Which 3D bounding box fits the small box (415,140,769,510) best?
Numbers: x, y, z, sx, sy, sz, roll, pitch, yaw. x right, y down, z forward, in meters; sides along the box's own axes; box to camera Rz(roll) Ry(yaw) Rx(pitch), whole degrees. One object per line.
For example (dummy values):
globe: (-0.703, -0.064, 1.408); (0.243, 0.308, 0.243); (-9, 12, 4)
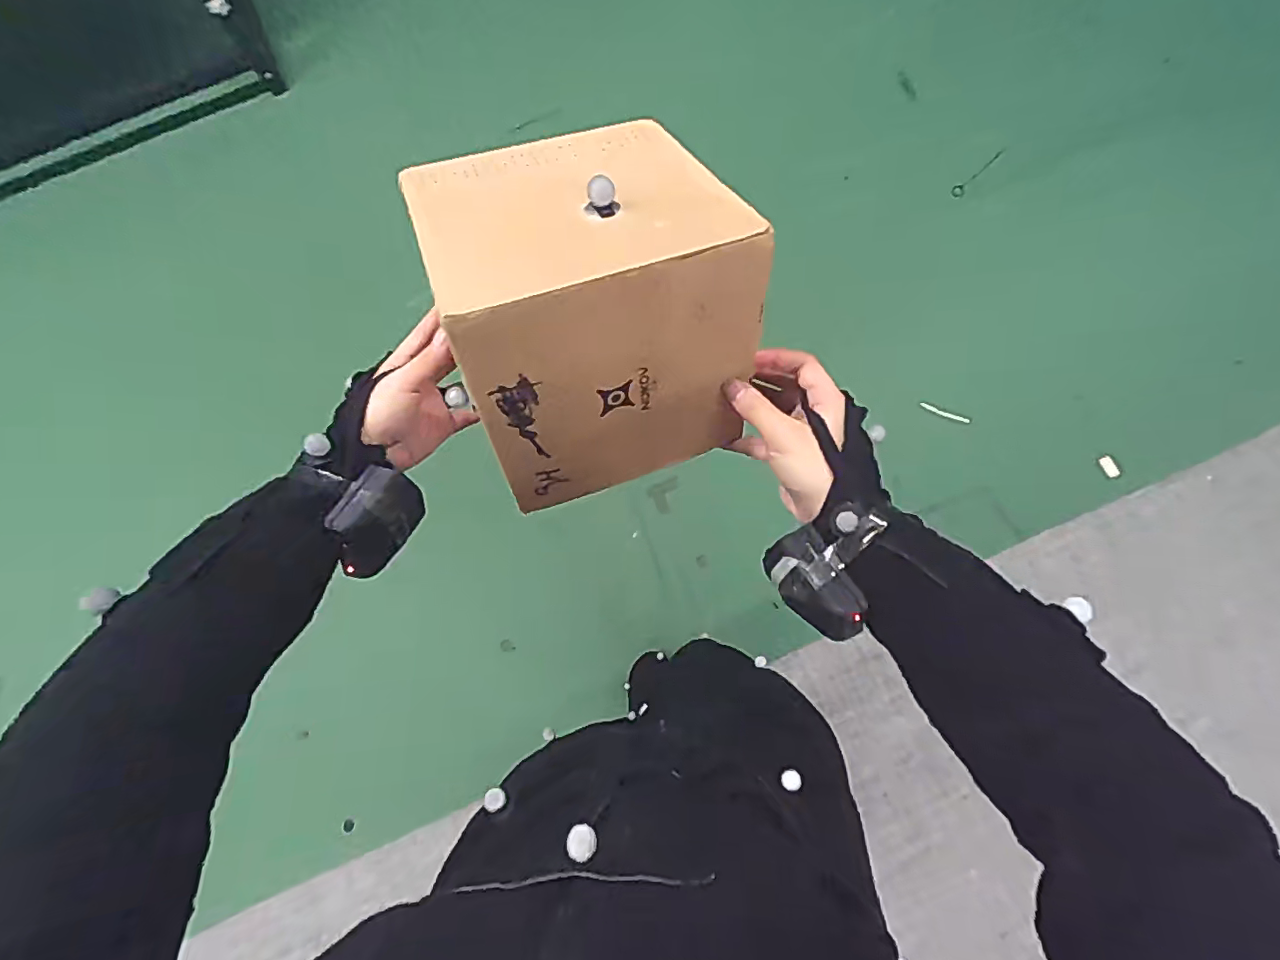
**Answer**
small box: (-0.037, -0.113, 0.384); (0.179, 0.168, 0.176); (-19, 54, -11)
